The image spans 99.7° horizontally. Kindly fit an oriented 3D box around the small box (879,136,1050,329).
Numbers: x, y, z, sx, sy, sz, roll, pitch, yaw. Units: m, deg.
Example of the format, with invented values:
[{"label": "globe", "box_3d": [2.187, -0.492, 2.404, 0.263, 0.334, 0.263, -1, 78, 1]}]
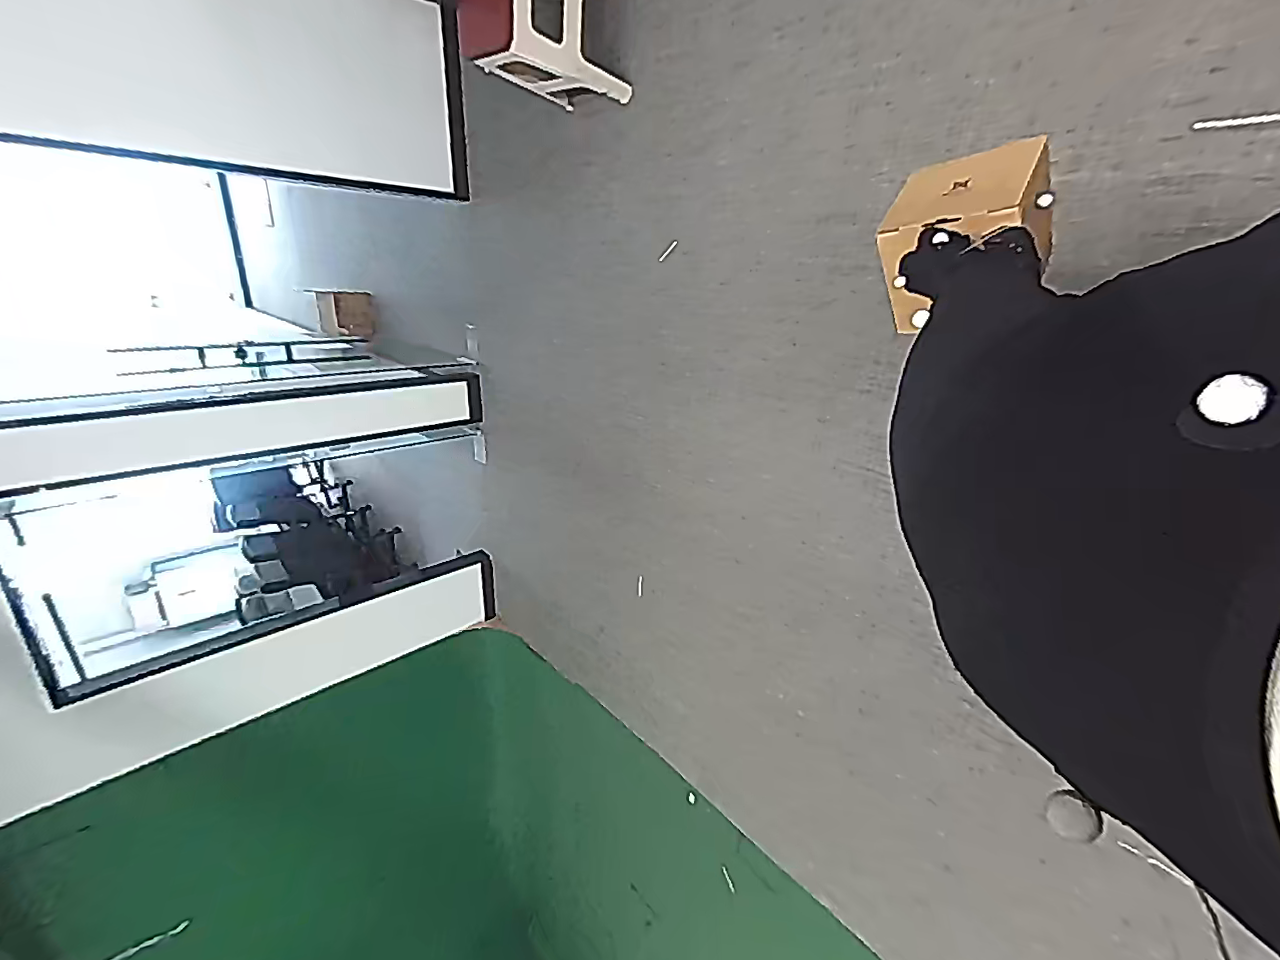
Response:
[{"label": "small box", "box_3d": [0.466, -0.340, 0.769, 0.168, 0.179, 0.176, 8, 144, 45]}]
